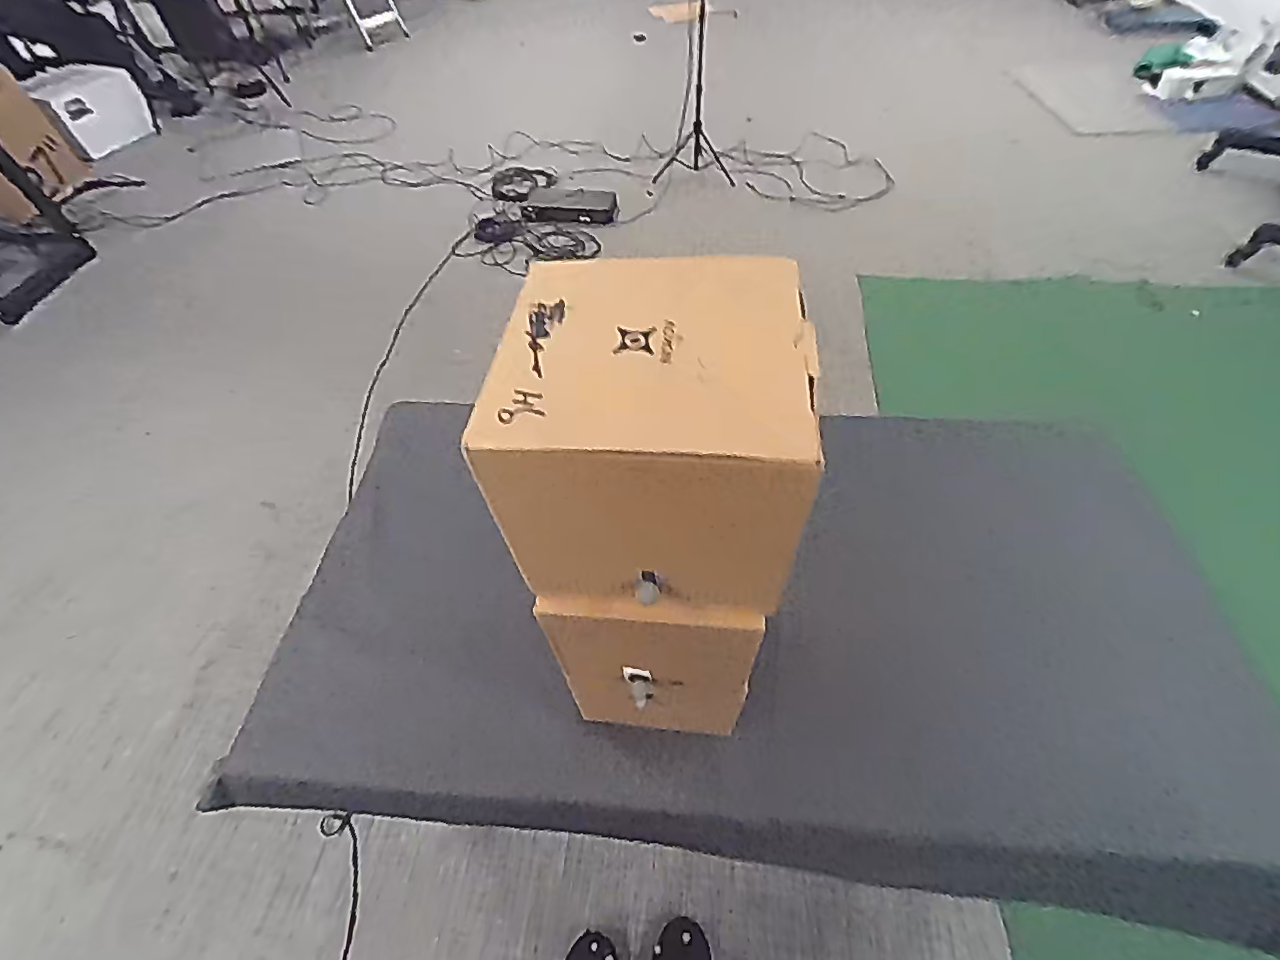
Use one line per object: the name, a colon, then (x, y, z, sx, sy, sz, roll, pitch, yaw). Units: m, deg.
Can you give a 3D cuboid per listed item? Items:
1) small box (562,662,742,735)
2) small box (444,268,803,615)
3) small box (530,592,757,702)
small box: (0.023, 0.181, 0.621, 0.179, 0.176, 0.168, 4, 53, 6)
small box: (0.003, -0.020, 0.367, 0.179, 0.176, 0.168, 3, 52, 7)
small box: (0.014, 0.084, 0.493, 0.168, 0.176, 0.179, 1, 53, 7)
